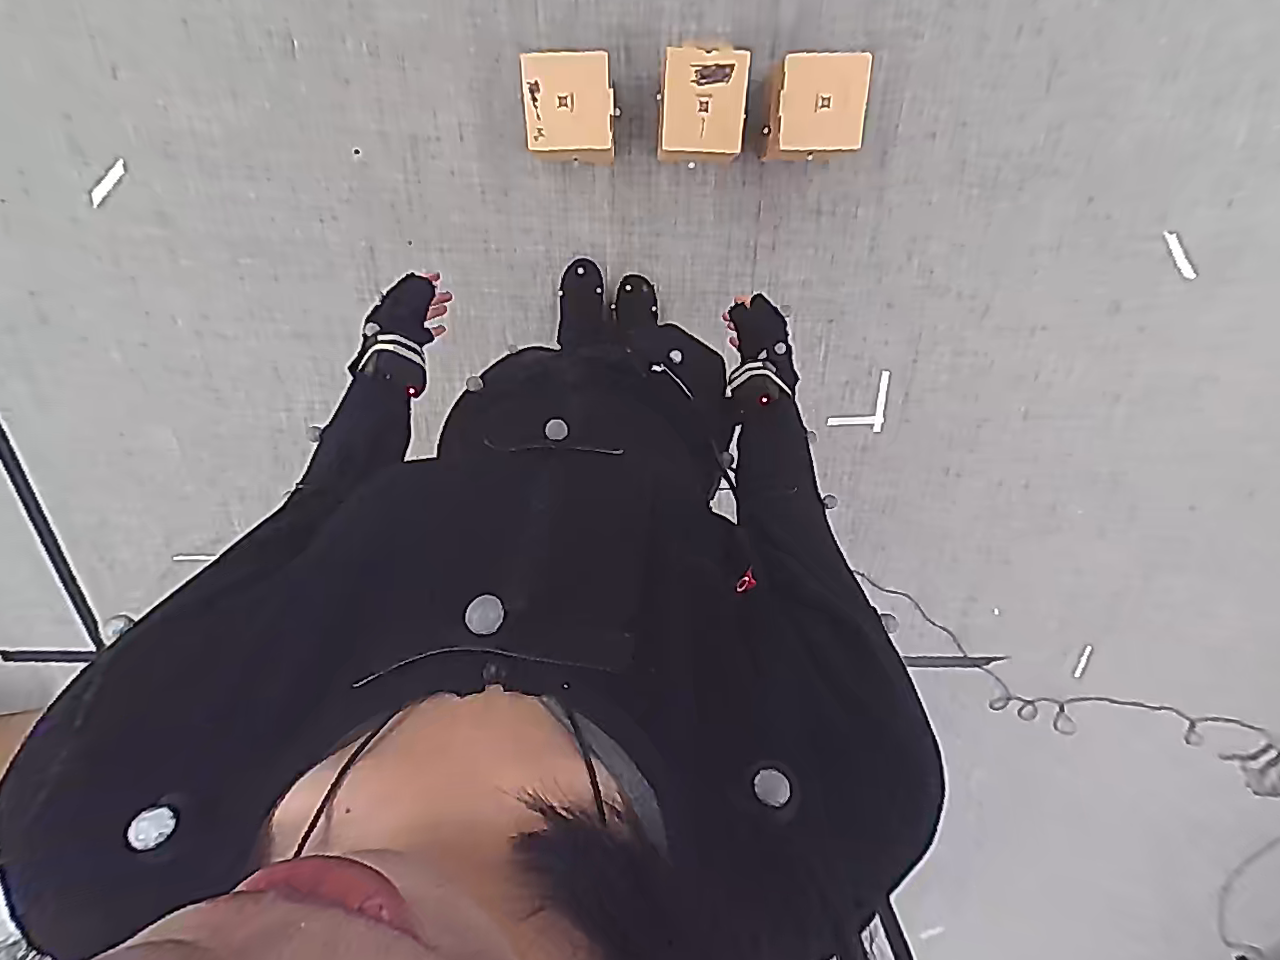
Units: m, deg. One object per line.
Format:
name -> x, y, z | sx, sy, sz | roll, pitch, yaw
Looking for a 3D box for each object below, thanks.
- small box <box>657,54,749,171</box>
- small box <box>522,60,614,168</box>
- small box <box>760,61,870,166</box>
small box -> 0.127, -0.781, 1.164 | 0.168, 0.176, 0.179 | 2, 114, -2
small box -> -0.147, -0.777, 1.160 | 0.179, 0.176, 0.168 | -2, 113, -1
small box -> 0.366, -0.784, 1.170 | 0.179, 0.176, 0.168 | -2, 115, -2
